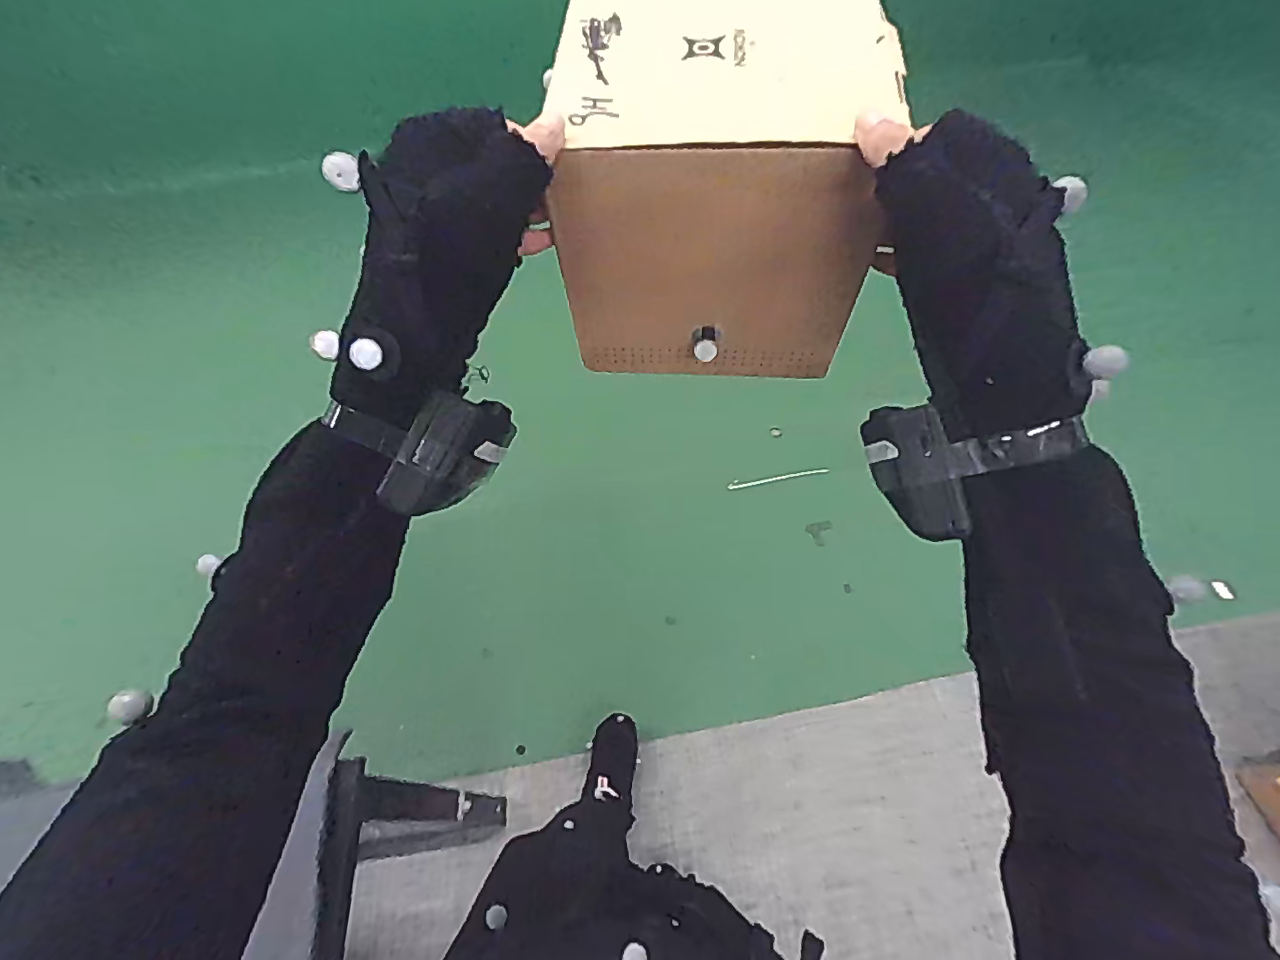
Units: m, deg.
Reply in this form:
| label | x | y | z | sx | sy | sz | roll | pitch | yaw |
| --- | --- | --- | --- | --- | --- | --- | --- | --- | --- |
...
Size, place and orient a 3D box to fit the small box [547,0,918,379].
| label | x | y | z | sx | sy | sz | roll | pitch | yaw |
| --- | --- | --- | --- | --- | --- | --- | --- | --- | --- |
| small box | 0.051 | -0.183 | 0.359 | 0.179 | 0.176 | 0.168 | 3 | 62 | 4 |
